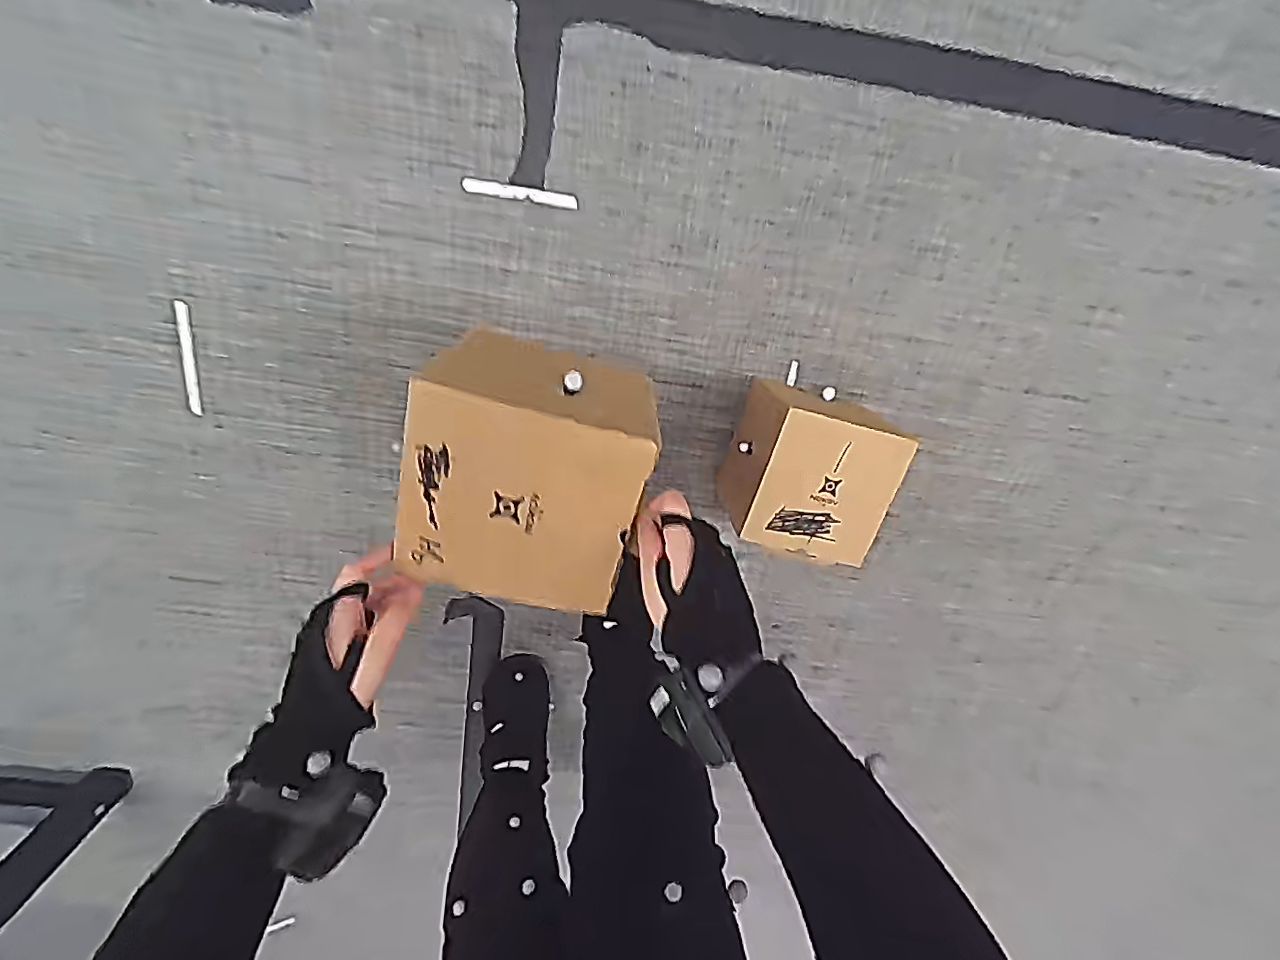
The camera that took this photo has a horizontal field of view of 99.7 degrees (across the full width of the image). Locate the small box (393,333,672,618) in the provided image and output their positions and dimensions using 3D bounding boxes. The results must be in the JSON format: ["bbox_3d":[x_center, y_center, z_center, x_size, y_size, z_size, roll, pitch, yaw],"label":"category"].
[{"bbox_3d":[-0.086,-0.013,0.462,0.179,0.176,0.168,14,115,-9],"label":"small box"}]

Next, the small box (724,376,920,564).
[{"bbox_3d":[0.221,-0.020,0.714,0.168,0.176,0.179,14,111,-8],"label":"small box"}]
